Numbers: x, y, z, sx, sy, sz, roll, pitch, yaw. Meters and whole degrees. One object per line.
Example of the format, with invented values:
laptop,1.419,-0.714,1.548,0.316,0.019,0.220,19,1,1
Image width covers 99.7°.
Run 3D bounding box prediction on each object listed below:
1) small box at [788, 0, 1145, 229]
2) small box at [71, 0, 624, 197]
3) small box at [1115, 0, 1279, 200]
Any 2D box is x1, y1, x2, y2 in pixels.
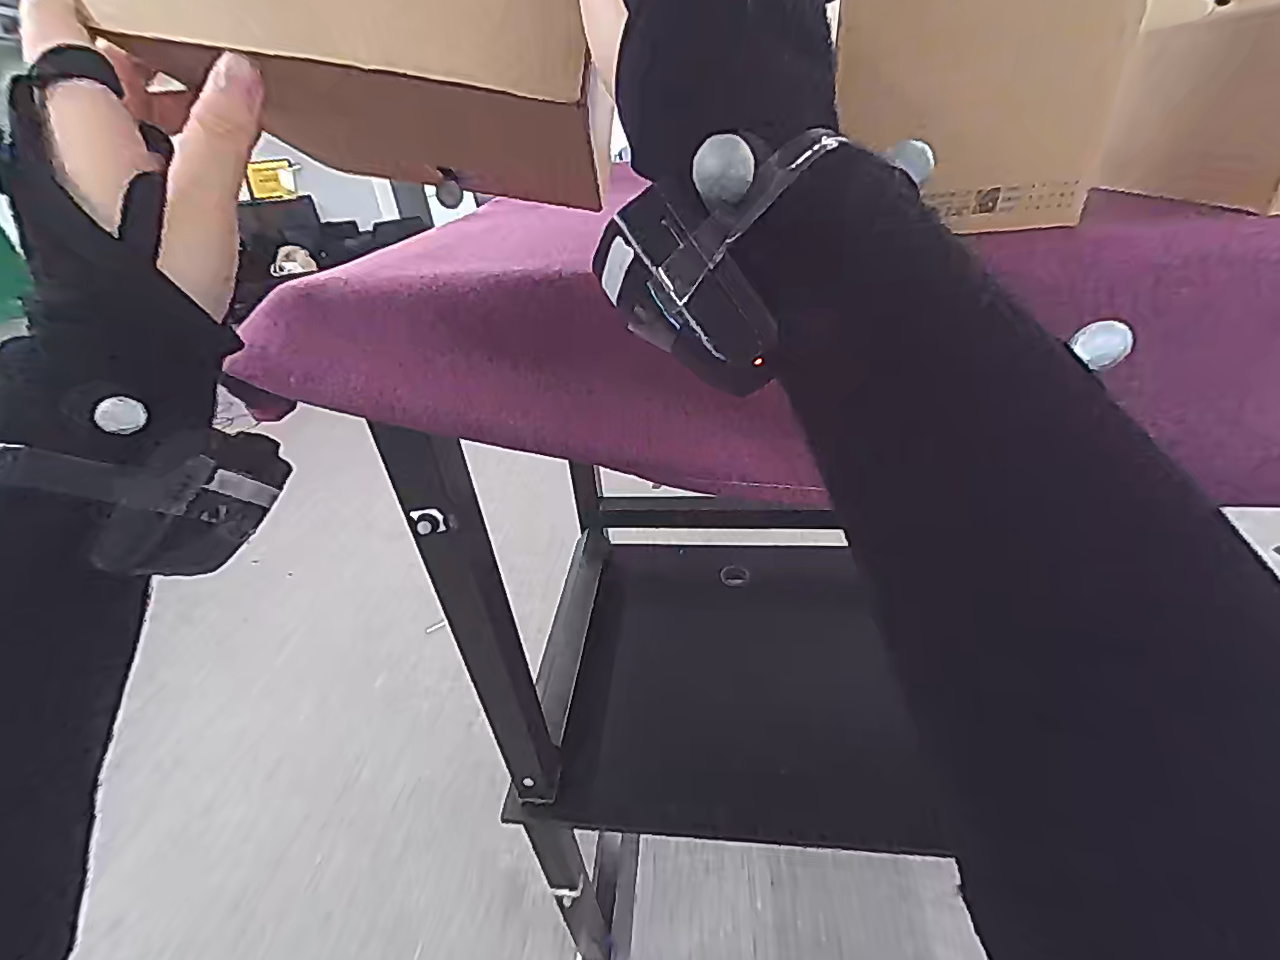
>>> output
small box,0.201,-0.276,0.373,0.168,0.176,0.179,-2,33,6
small box,-0.095,-0.243,0.242,0.179,0.168,0.176,7,14,-3
small box,0.459,-0.277,0.336,0.168,0.176,0.179,-2,33,7
